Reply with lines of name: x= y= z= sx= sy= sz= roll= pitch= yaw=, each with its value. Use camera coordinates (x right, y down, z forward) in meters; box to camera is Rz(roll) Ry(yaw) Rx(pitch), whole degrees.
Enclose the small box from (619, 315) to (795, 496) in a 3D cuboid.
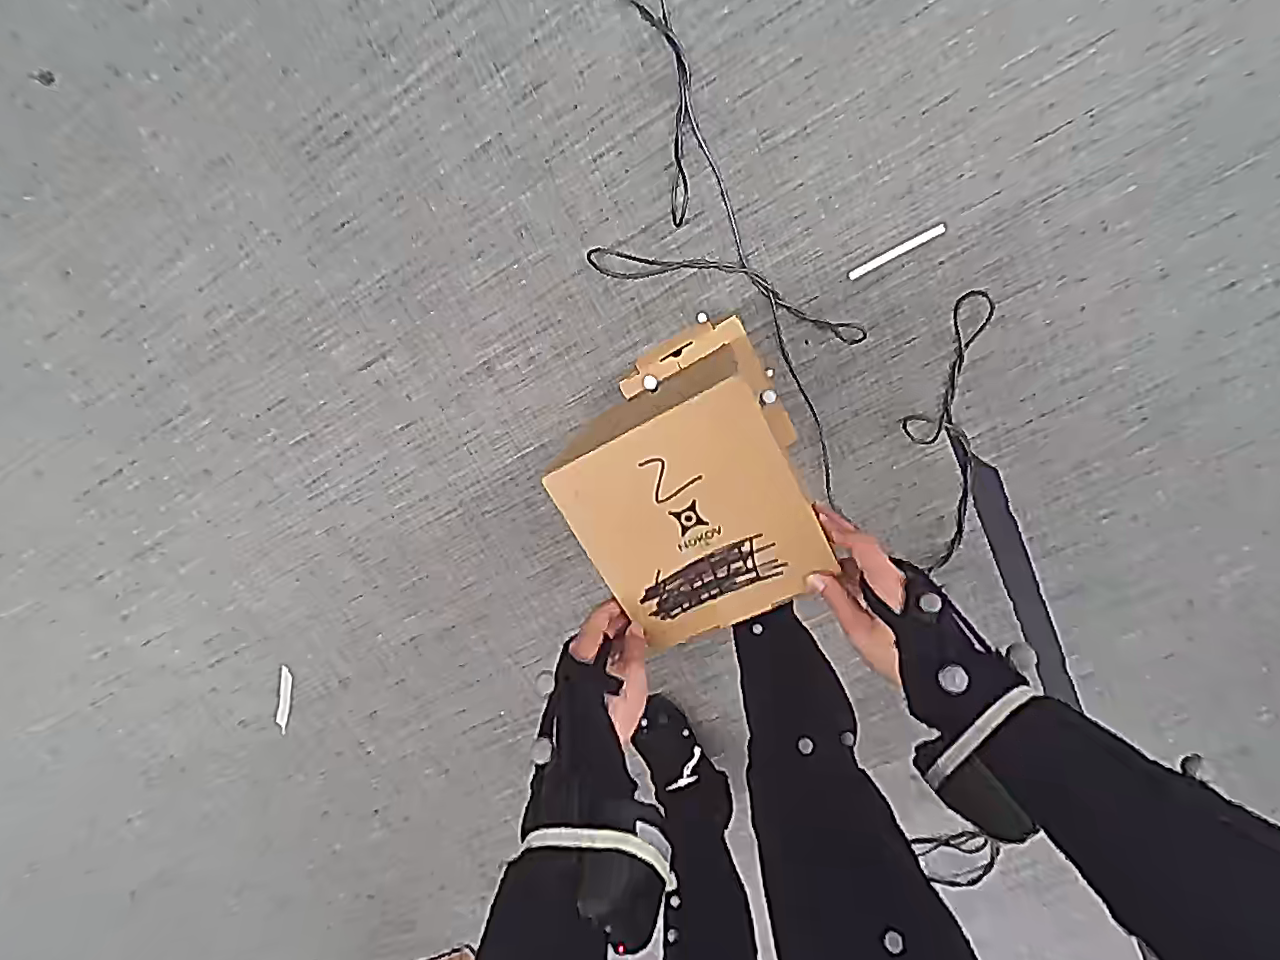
small box: x=0.086 y=-0.110 z=0.748 sx=0.168 sy=0.176 sz=0.179 roll=-28 pitch=106 yaw=12
